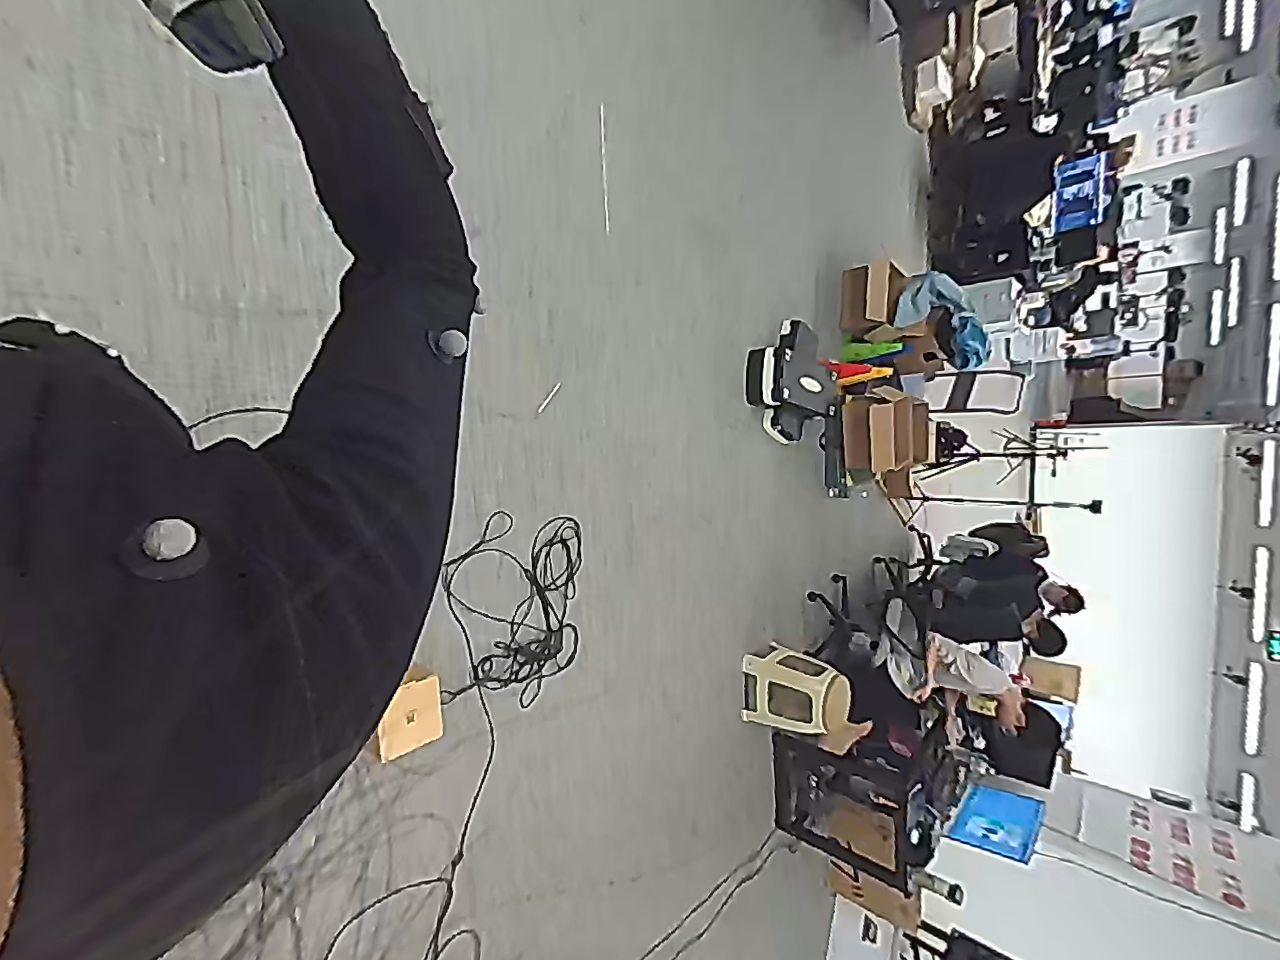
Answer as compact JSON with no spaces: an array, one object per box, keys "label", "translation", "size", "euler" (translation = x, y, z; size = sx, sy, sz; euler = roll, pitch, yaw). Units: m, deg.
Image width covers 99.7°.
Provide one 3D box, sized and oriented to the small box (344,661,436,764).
[{"label":"small box","translation":[-0.662,0.606,1.432],"size":[0.168,0.176,0.179],"euler":[-9,98,-48]}]
